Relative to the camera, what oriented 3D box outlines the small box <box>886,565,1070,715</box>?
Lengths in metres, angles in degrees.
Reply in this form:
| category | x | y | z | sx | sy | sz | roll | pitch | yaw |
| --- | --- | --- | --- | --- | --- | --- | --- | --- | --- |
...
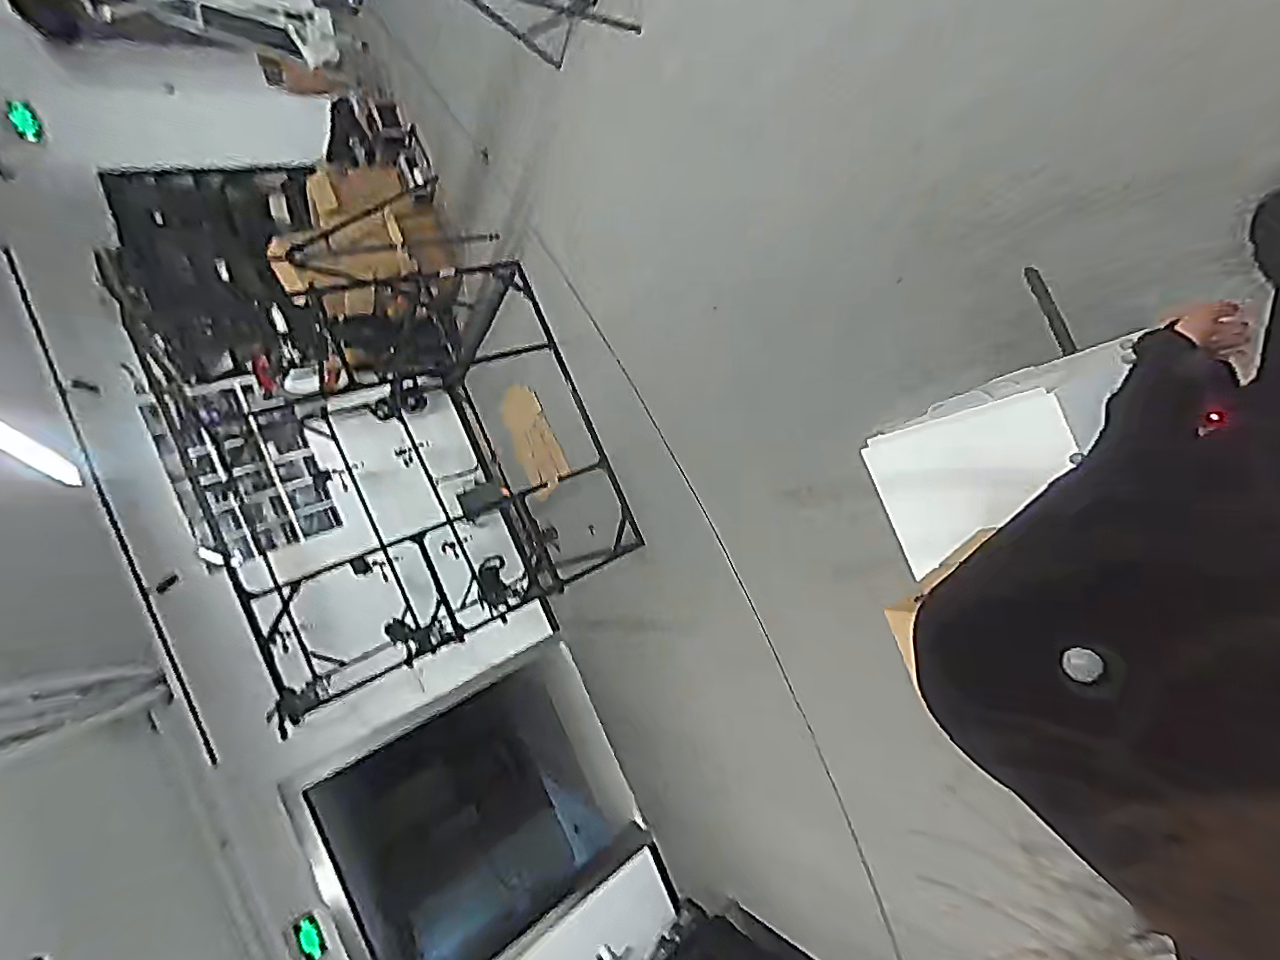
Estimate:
| category | x | y | z | sx | sy | sz | roll | pitch | yaw |
| --- | --- | --- | --- | --- | --- | --- | --- | --- | --- |
| small box | 0.551 | 0.249 | 0.887 | 0.179 | 0.176 | 0.168 | -18 | 96 | 60 |
